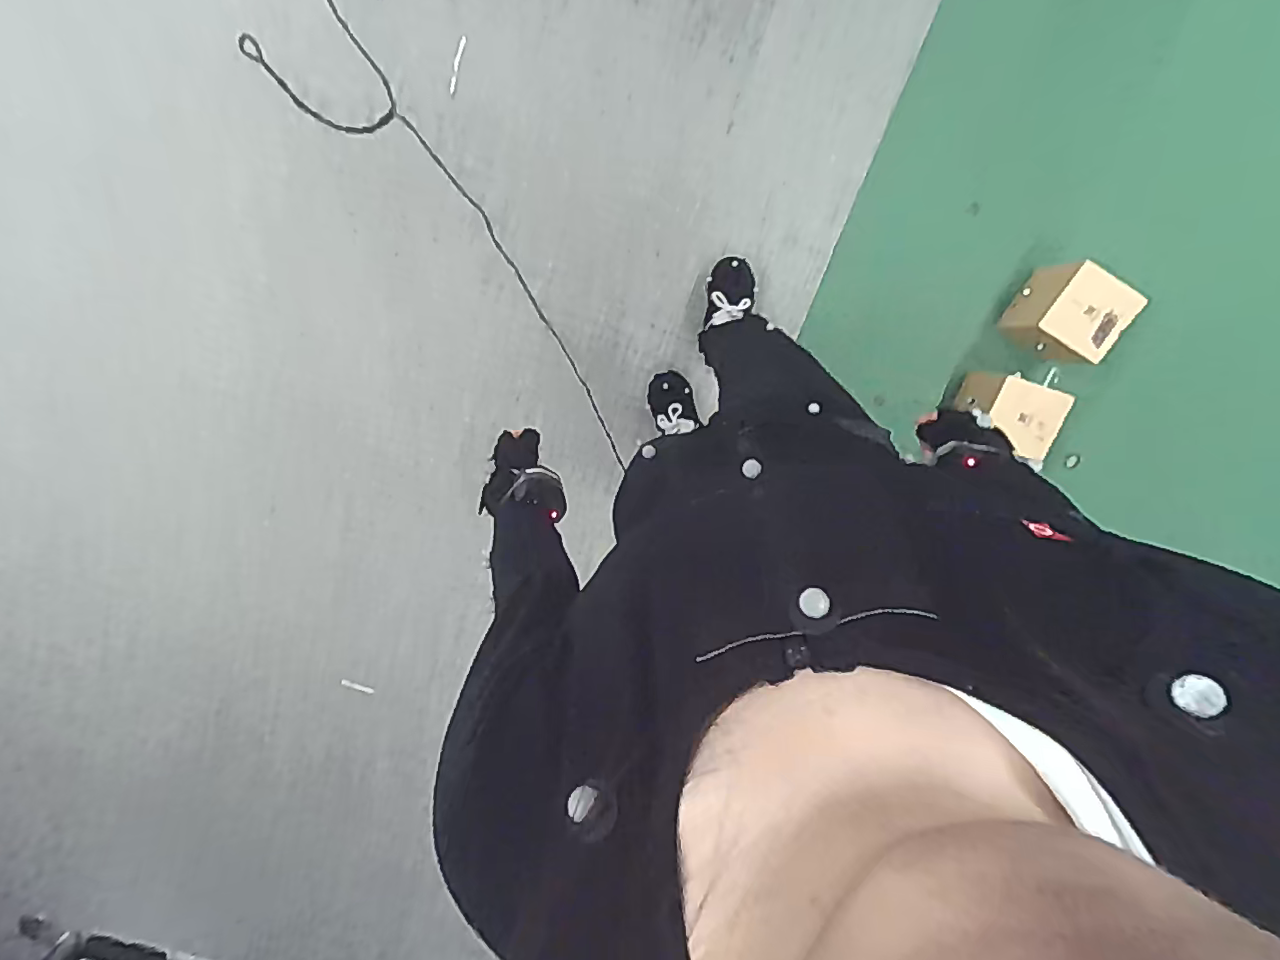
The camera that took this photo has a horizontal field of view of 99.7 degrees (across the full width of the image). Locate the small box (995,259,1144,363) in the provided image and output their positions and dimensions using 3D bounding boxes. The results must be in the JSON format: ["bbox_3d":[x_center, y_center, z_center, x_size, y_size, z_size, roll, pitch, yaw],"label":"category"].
[{"bbox_3d":[1.008,-0.396,1.284,0.179,0.176,0.168,30,103,-5],"label":"small box"}]

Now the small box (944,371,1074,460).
[{"bbox_3d":[0.904,-0.168,1.346,0.179,0.176,0.168,18,106,-4],"label":"small box"}]
